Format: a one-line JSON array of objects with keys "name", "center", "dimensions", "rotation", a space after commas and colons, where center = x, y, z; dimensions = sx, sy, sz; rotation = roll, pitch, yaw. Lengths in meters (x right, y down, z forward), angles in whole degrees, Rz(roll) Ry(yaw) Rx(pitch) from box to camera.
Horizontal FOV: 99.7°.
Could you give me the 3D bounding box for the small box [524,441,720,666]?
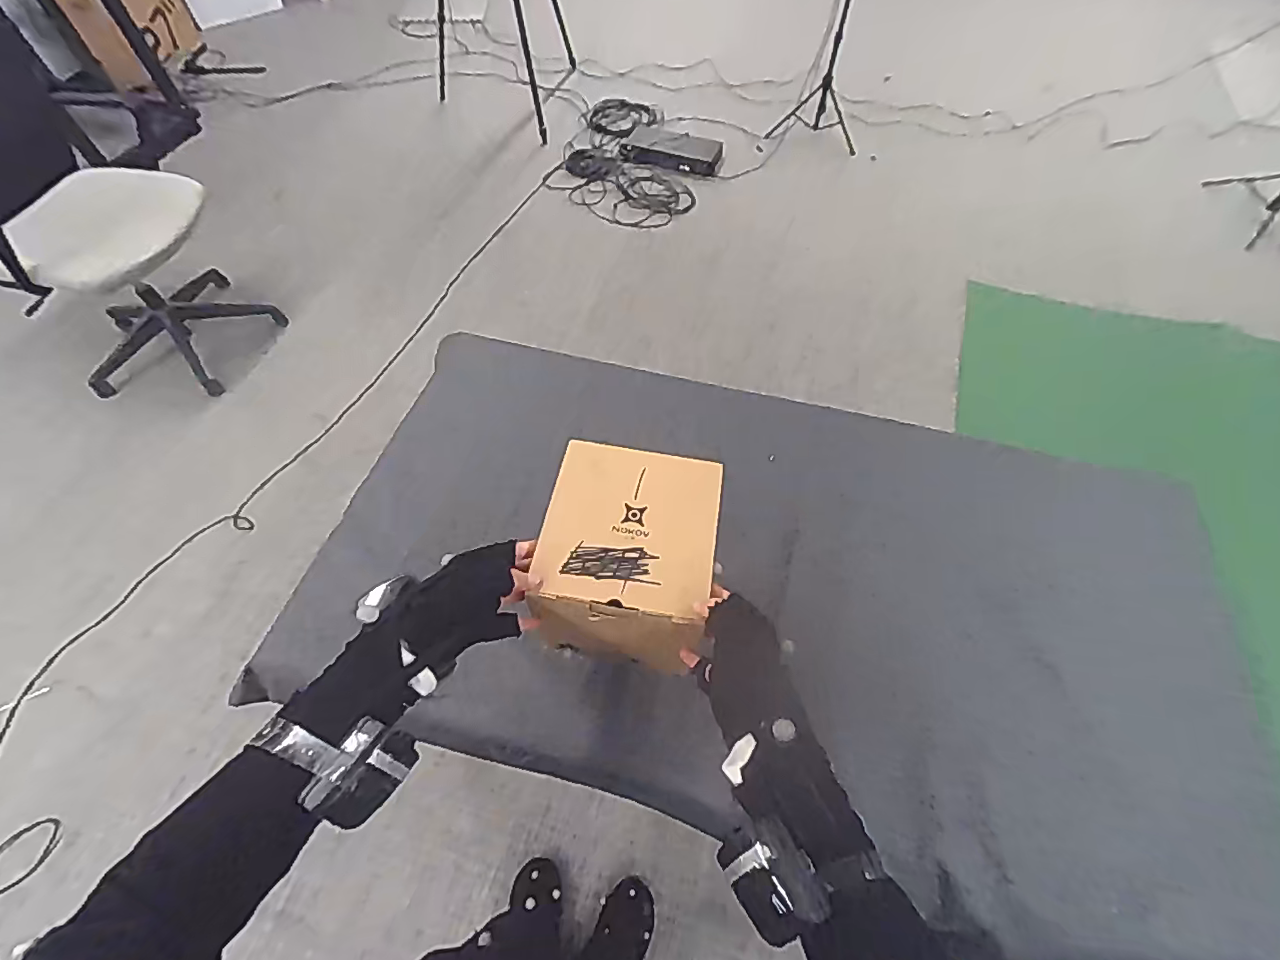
[{"name": "small box", "center": [-0.013, 0.086, 0.590], "dimensions": [0.168, 0.176, 0.179], "rotation": [10, 55, 3]}]
